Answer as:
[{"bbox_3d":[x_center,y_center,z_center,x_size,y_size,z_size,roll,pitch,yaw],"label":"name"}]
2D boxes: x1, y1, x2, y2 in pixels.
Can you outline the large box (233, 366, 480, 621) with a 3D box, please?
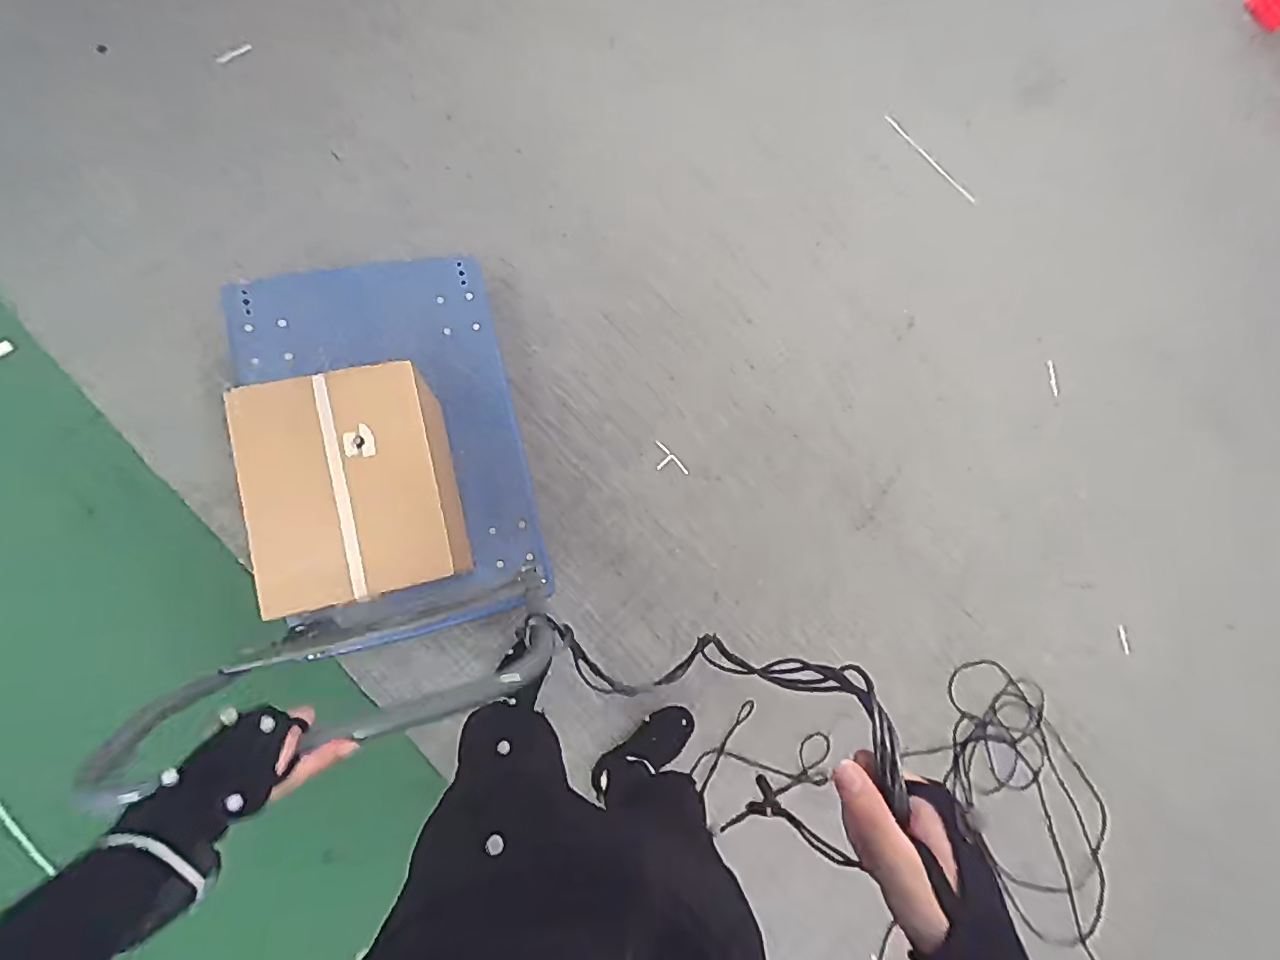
[{"bbox_3d":[-0.536,0.034,1.093,0.320,0.320,0.408,-13,84,-13],"label":"large box"}]
